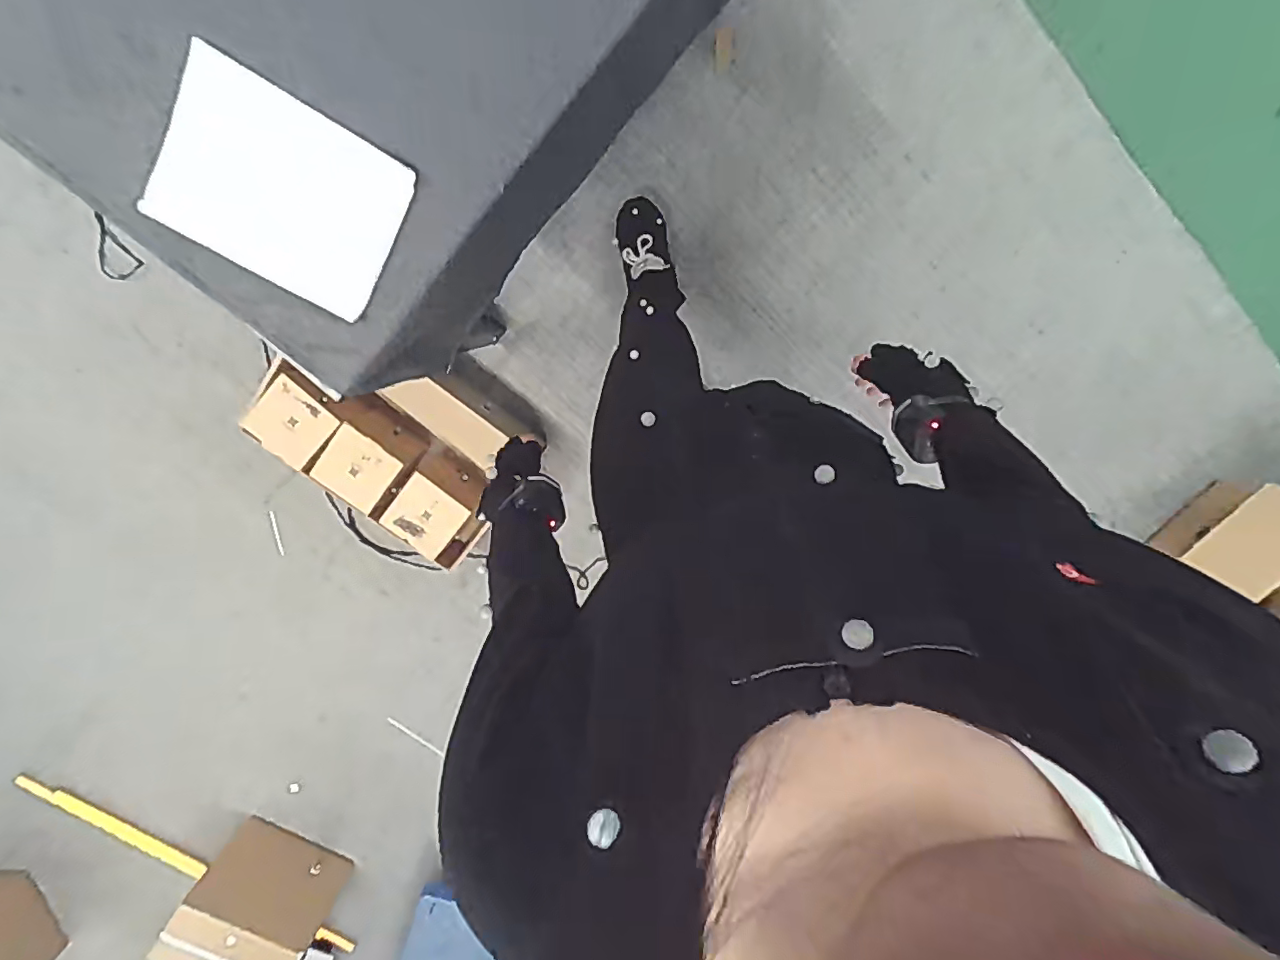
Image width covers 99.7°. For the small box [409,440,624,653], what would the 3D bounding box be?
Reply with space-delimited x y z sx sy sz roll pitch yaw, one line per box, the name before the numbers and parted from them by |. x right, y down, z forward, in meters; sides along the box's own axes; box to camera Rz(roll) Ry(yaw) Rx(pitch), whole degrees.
small box | -0.150 0.075 0.651 0.168 0.179 0.176 45 78 -10
